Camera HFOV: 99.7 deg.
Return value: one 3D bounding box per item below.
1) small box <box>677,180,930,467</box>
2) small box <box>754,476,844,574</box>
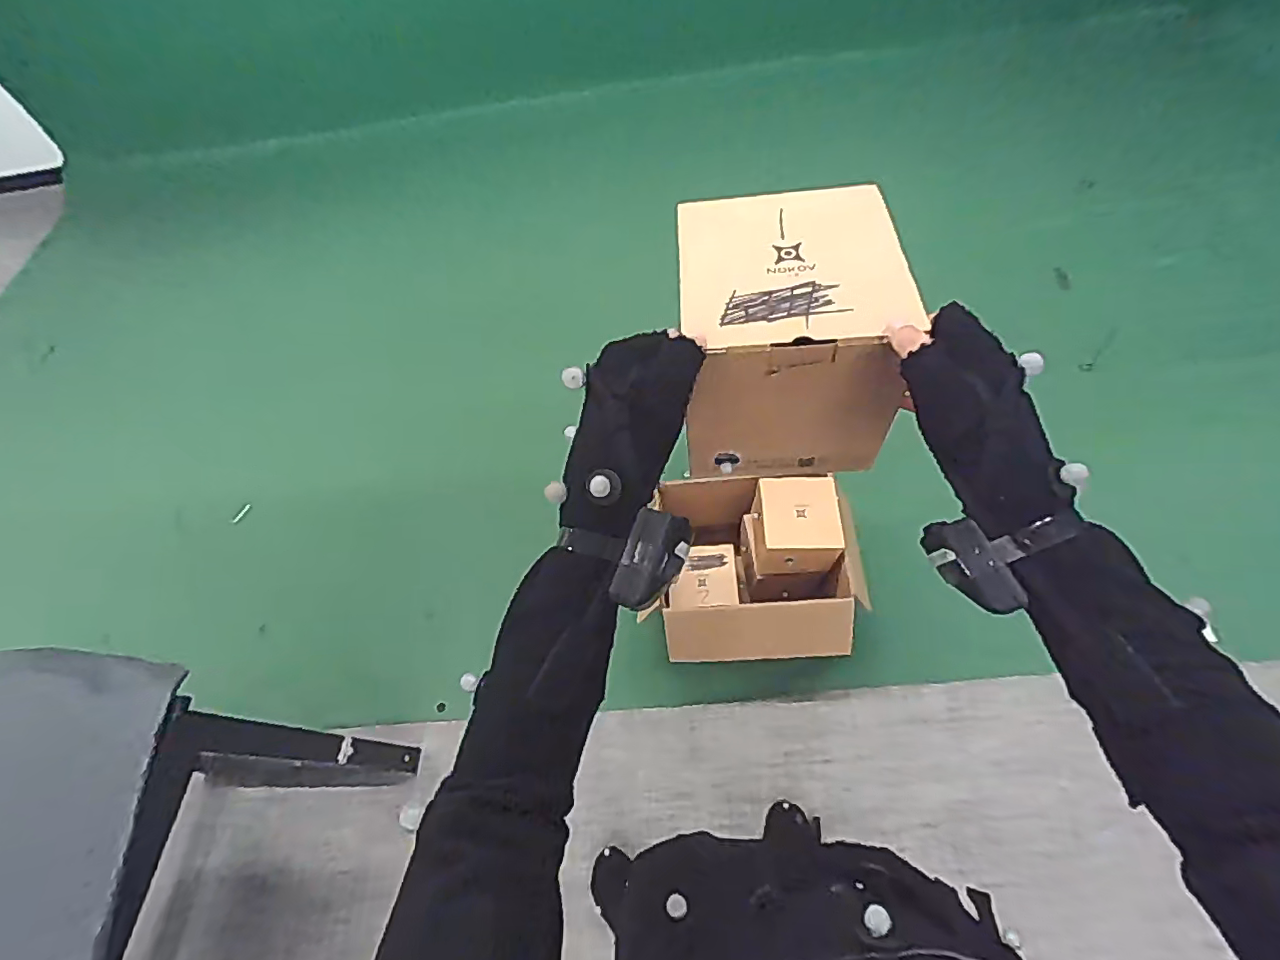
[{"bbox_3d":[0.120,-0.121,0.467,0.168,0.176,0.179,-2,57,6],"label":"small box"},{"bbox_3d":[0.355,0.108,1.240,0.168,0.176,0.179,-1,59,5],"label":"small box"}]
